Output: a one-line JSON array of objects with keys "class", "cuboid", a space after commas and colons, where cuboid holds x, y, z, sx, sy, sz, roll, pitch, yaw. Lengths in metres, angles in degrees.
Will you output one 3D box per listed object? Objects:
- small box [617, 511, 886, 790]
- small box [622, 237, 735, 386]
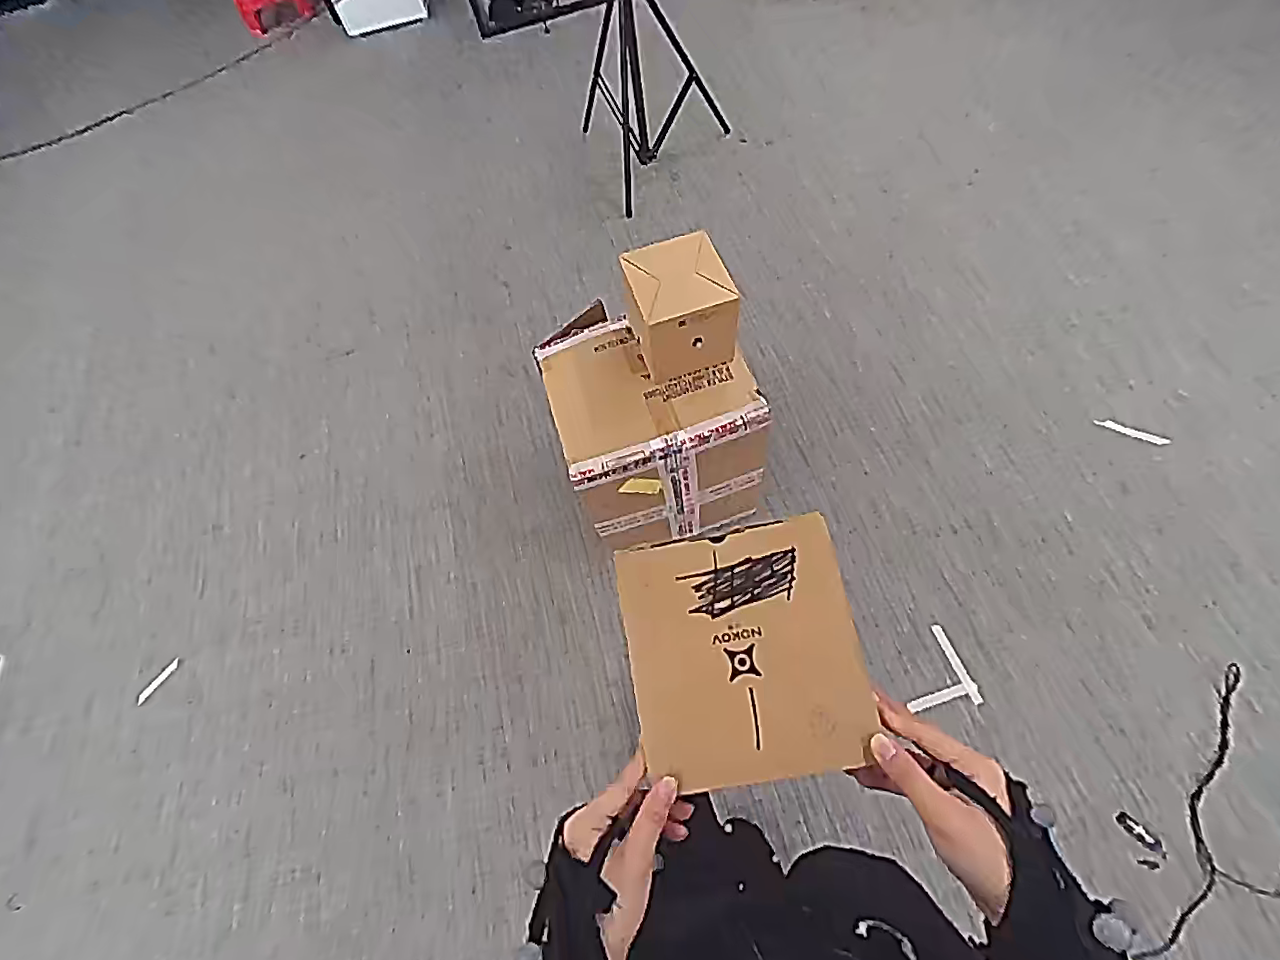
[{"class": "small box", "cuboid": [0.083, 0.141, 0.470, 0.168, 0.176, 0.179, -12, 74, 5]}, {"class": "small box", "cuboid": [0.070, -0.310, 1.004, 0.168, 0.176, 0.179, -18, 64, -4]}]
